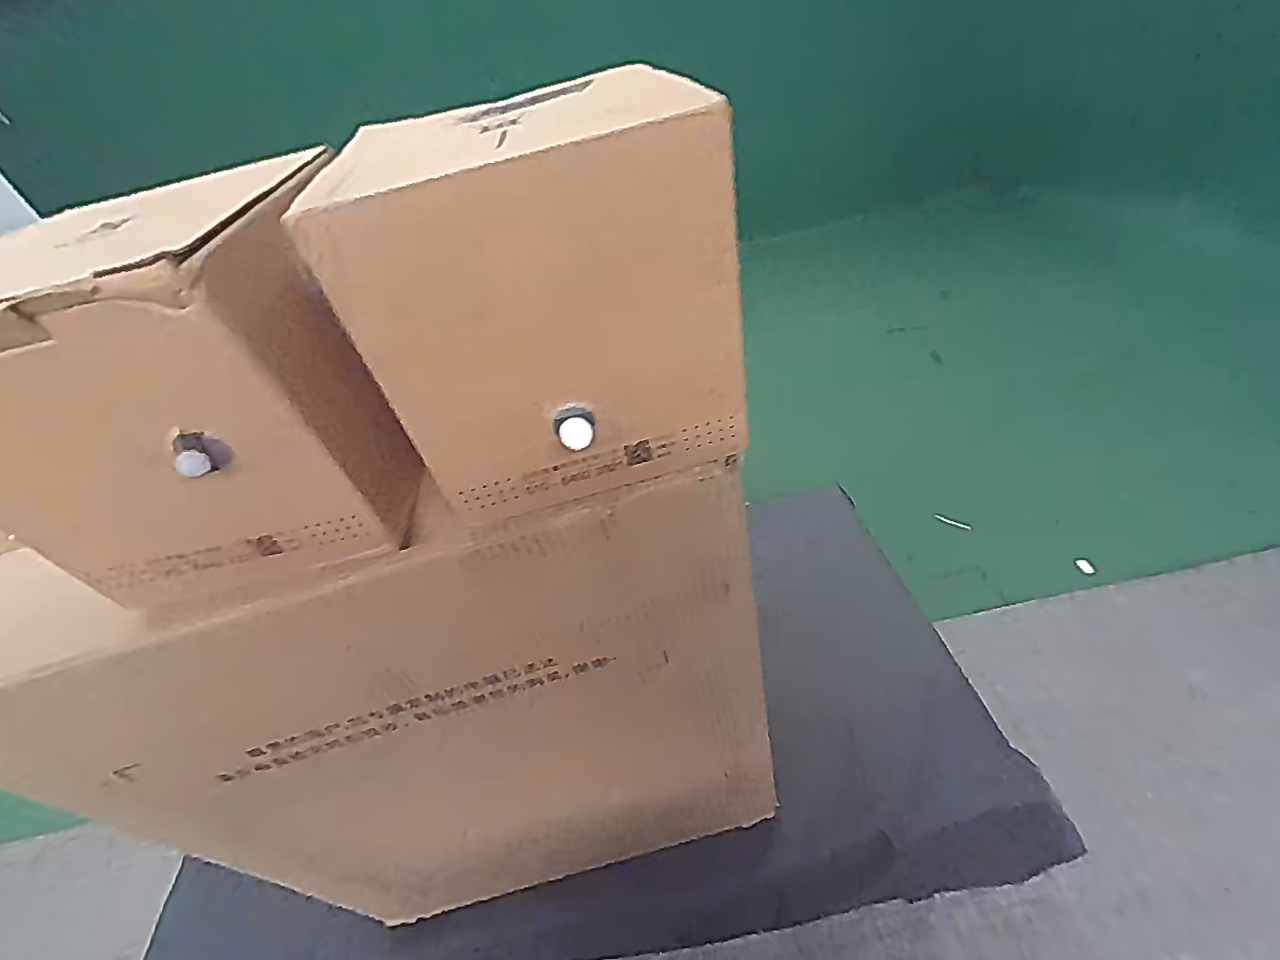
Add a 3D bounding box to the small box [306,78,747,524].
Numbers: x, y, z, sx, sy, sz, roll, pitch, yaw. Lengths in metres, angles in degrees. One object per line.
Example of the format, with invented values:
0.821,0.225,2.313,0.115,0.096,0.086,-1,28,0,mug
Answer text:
-0.044,-0.104,0.311,0.168,0.176,0.179,-15,44,-1,small box
